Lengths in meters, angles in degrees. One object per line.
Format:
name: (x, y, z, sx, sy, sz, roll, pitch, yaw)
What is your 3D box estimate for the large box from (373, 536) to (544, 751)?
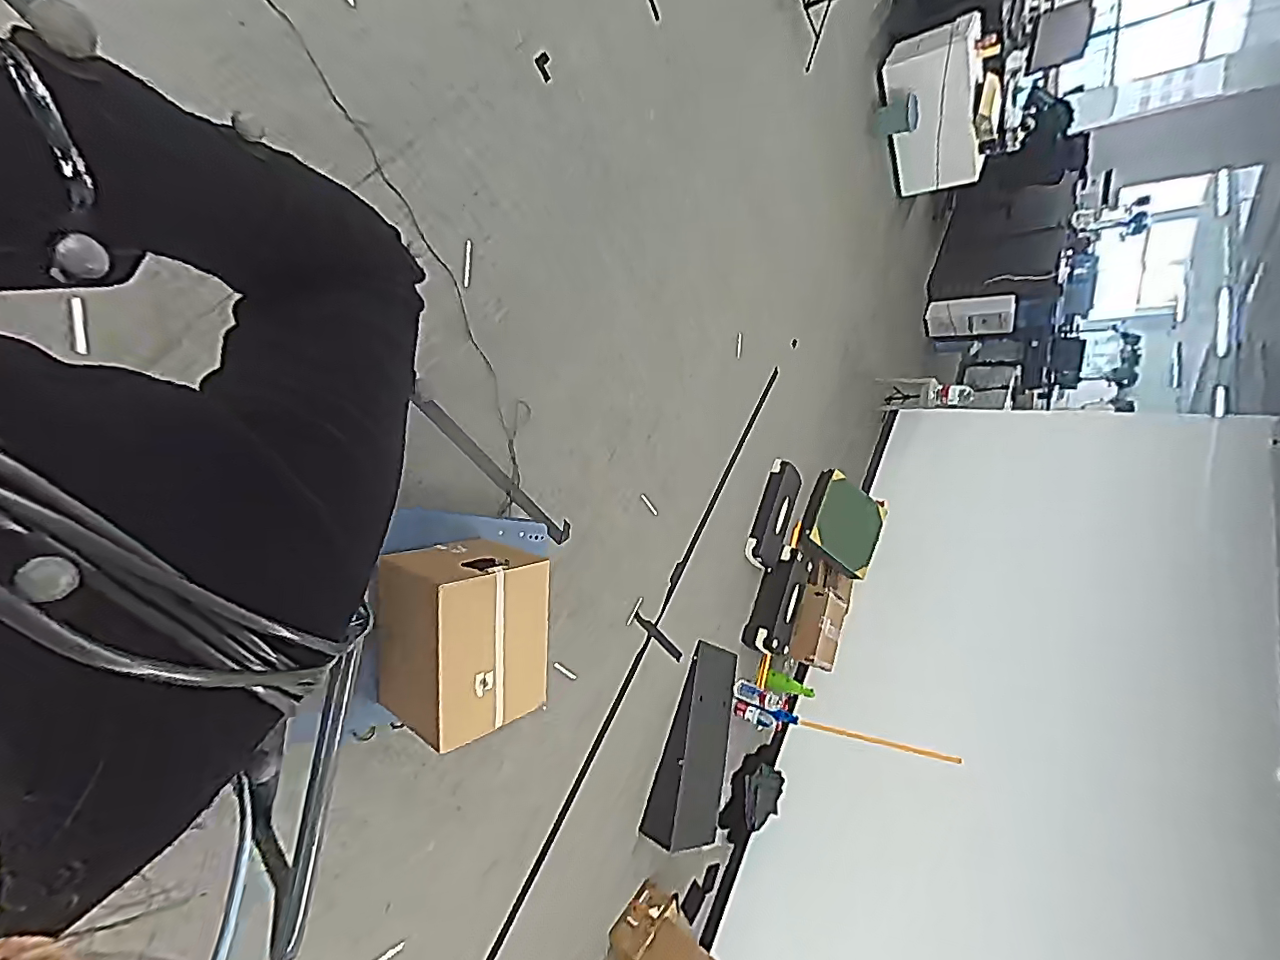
large box: (-0.467, 0.388, 1.399, 0.320, 0.320, 0.408, -6, 101, -49)
